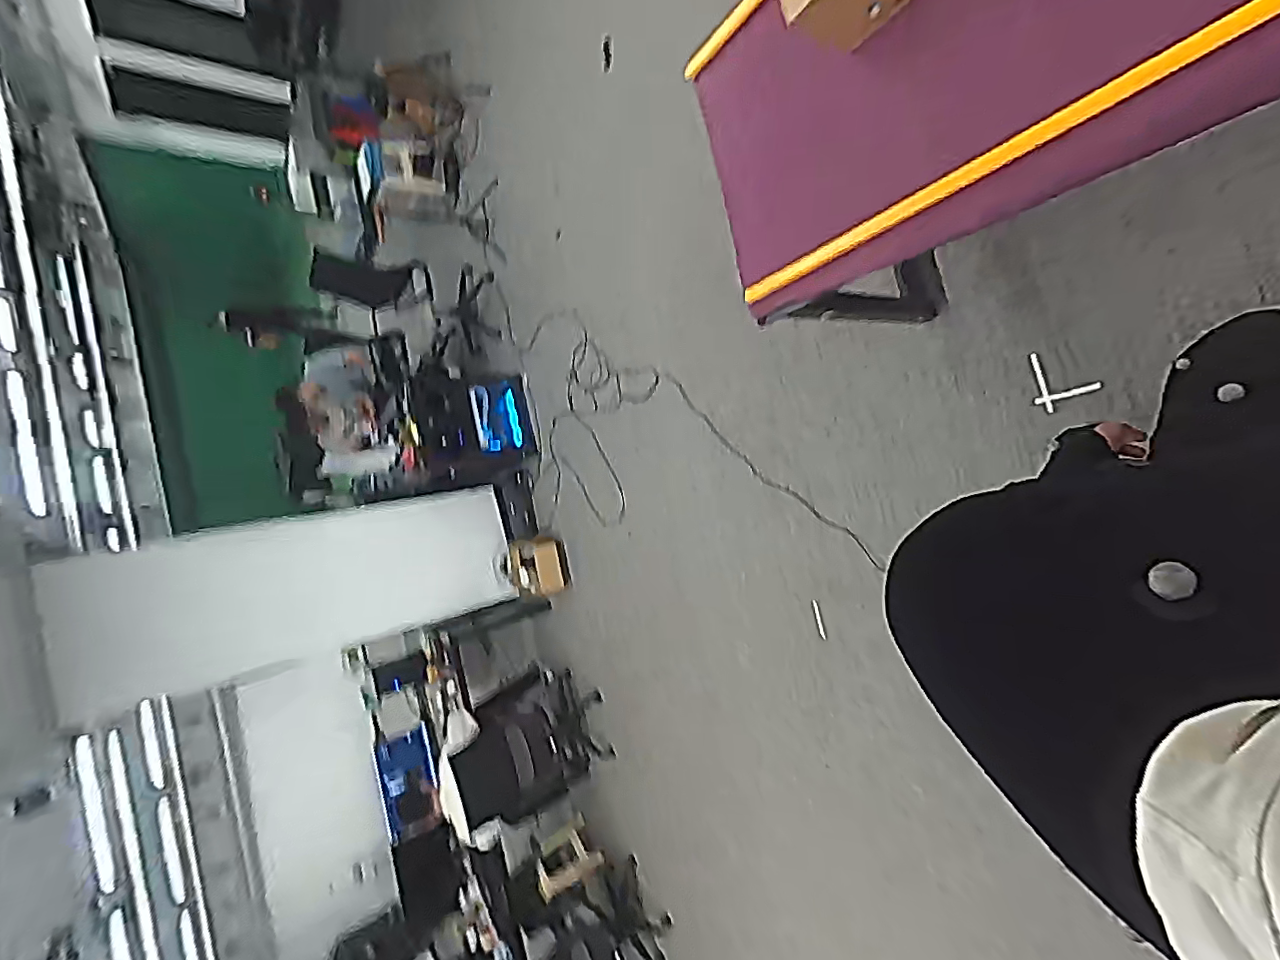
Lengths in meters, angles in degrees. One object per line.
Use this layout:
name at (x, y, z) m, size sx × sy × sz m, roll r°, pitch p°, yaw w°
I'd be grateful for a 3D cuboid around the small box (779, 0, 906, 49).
small box at (0.313, -0.811, 0.816) m, size 0.168 × 0.176 × 0.179 m, roll -16°, pitch 88°, yaw 53°
